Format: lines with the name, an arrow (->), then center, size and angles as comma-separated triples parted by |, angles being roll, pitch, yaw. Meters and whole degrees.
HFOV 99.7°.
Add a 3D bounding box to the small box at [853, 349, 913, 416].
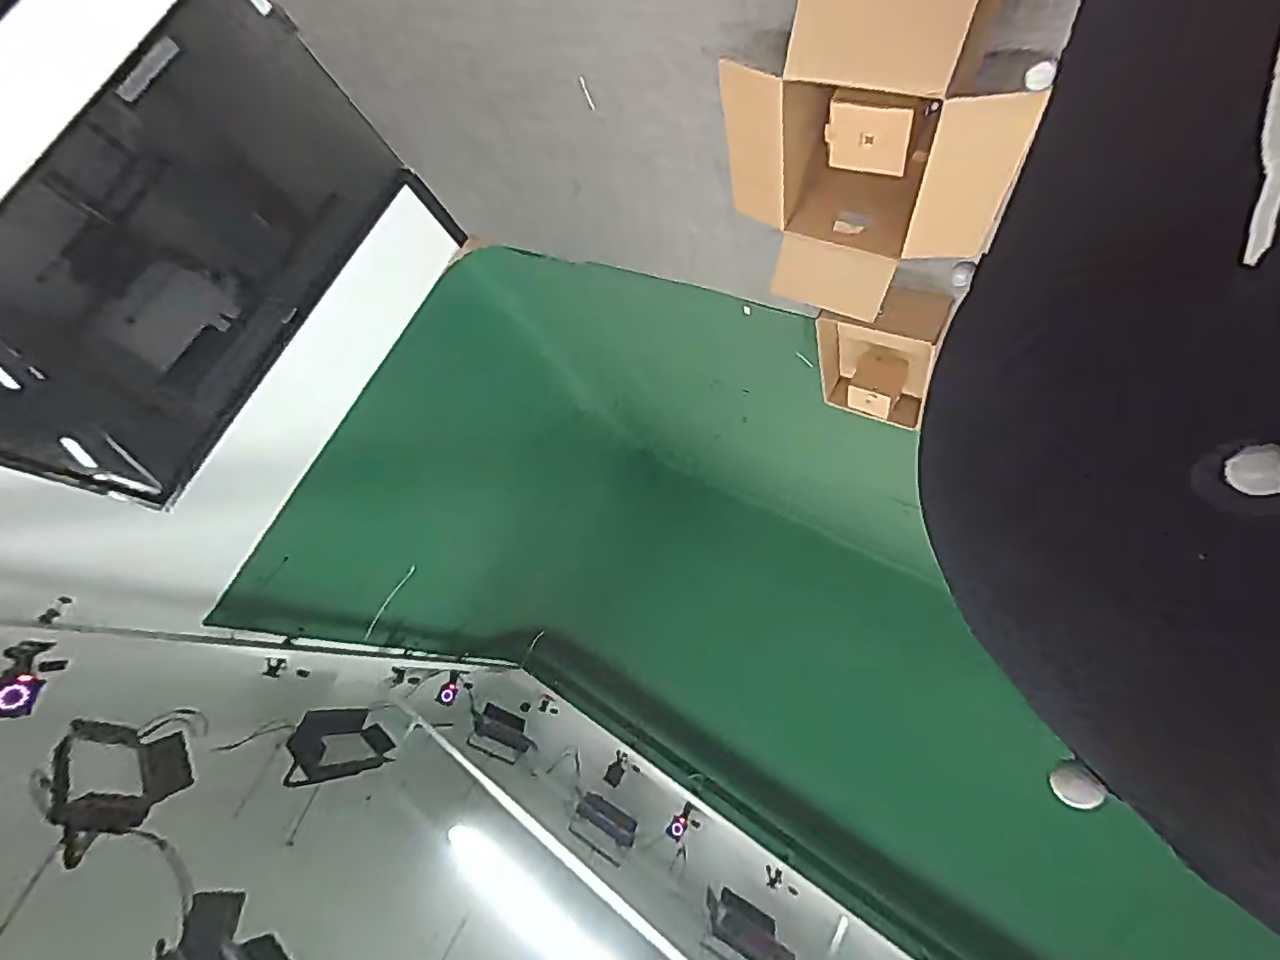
small box -> 0.960, -0.388, 2.139 | 0.168, 0.176, 0.179 | 26, 169, 28
